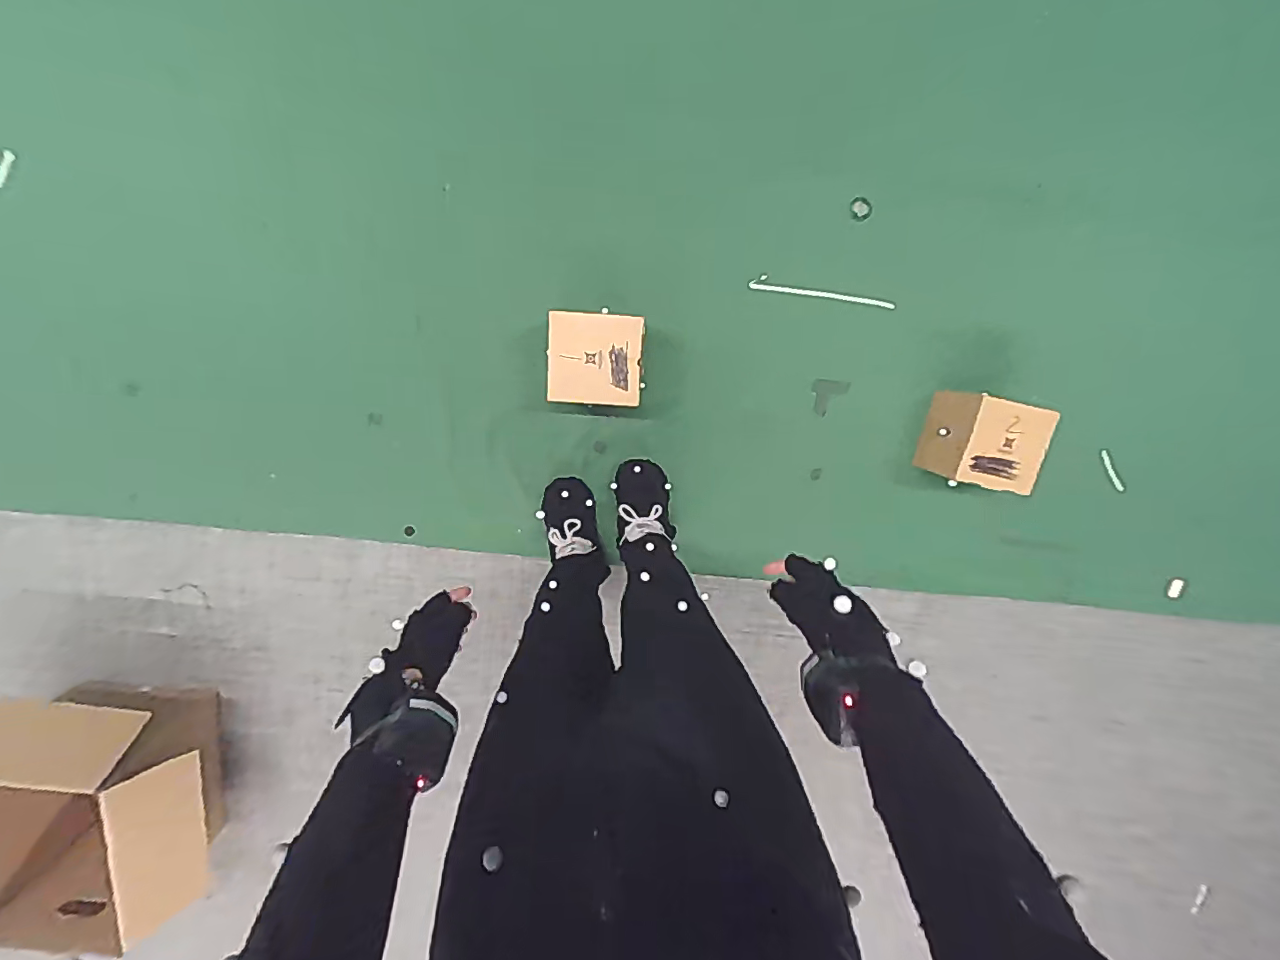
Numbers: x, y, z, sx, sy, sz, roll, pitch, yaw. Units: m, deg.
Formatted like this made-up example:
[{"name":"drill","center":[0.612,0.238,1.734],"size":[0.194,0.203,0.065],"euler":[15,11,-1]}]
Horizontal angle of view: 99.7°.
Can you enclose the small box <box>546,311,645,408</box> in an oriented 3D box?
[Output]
[{"name":"small box","center":[-0.086,-0.240,1.072],"size":[0.179,0.176,0.168],"euler":[4,103,-2]}]
